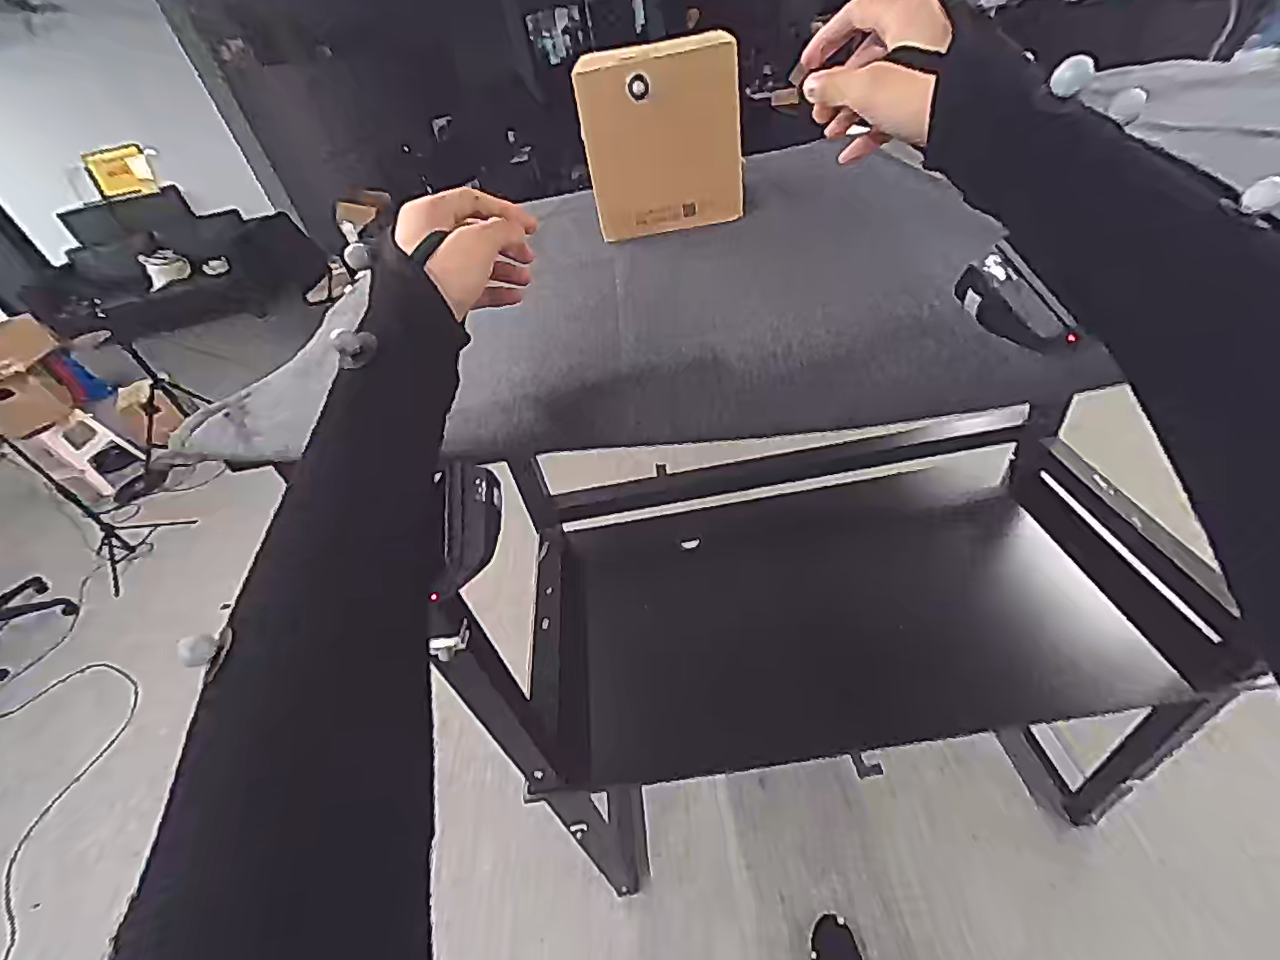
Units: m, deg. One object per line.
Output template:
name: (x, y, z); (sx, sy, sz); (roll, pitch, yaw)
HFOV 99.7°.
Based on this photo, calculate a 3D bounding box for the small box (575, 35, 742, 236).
small box: (0.028, -0.411, 0.649); (0.168, 0.176, 0.179); (-7, 40, 6)
